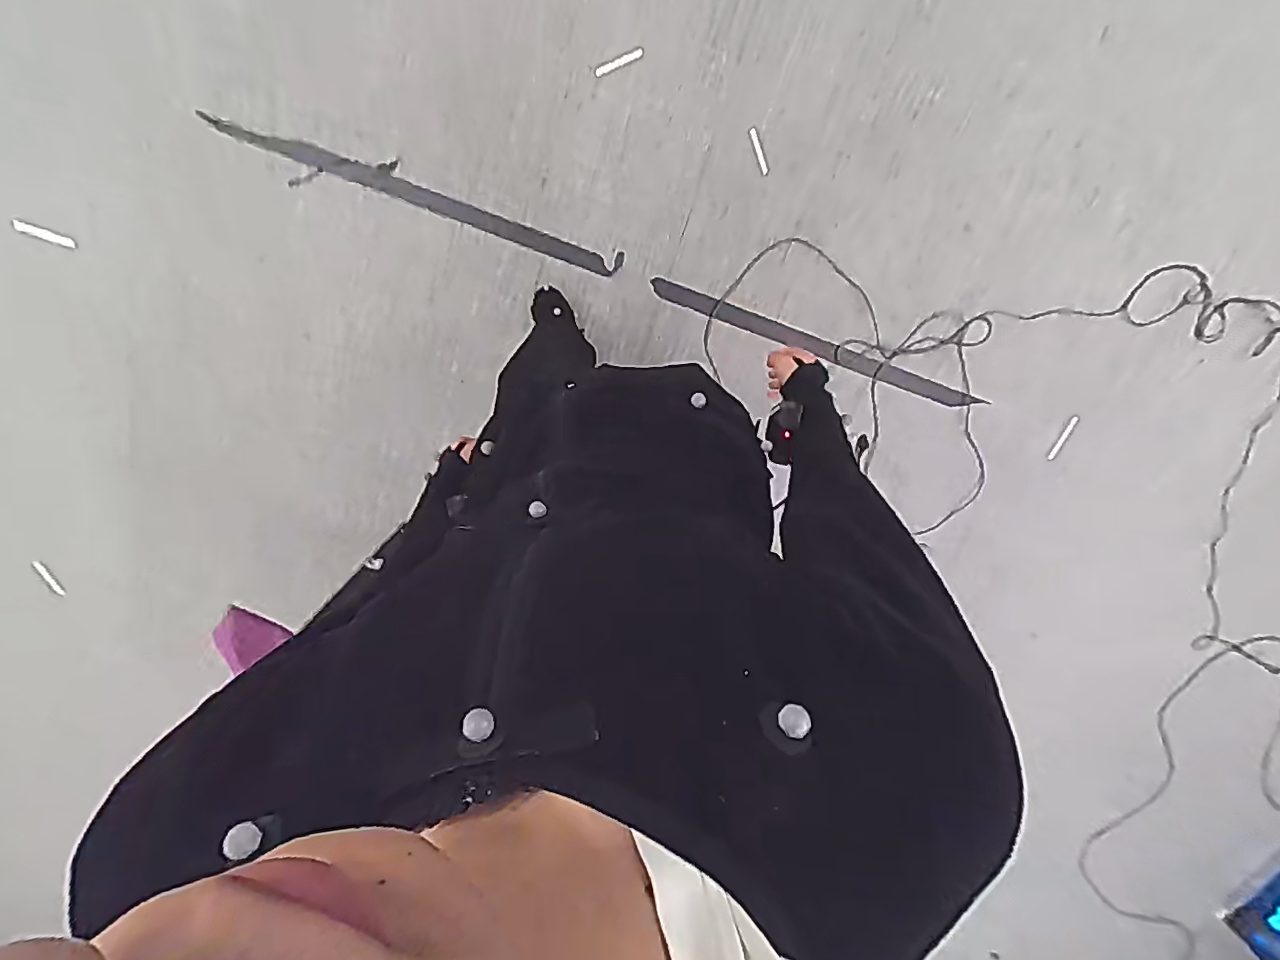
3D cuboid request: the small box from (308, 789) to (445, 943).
[{"bbox_3d":[-0.502,0.737,1.047,0.179,0.176,0.168,15,110,-5],"label":"small box"}]
